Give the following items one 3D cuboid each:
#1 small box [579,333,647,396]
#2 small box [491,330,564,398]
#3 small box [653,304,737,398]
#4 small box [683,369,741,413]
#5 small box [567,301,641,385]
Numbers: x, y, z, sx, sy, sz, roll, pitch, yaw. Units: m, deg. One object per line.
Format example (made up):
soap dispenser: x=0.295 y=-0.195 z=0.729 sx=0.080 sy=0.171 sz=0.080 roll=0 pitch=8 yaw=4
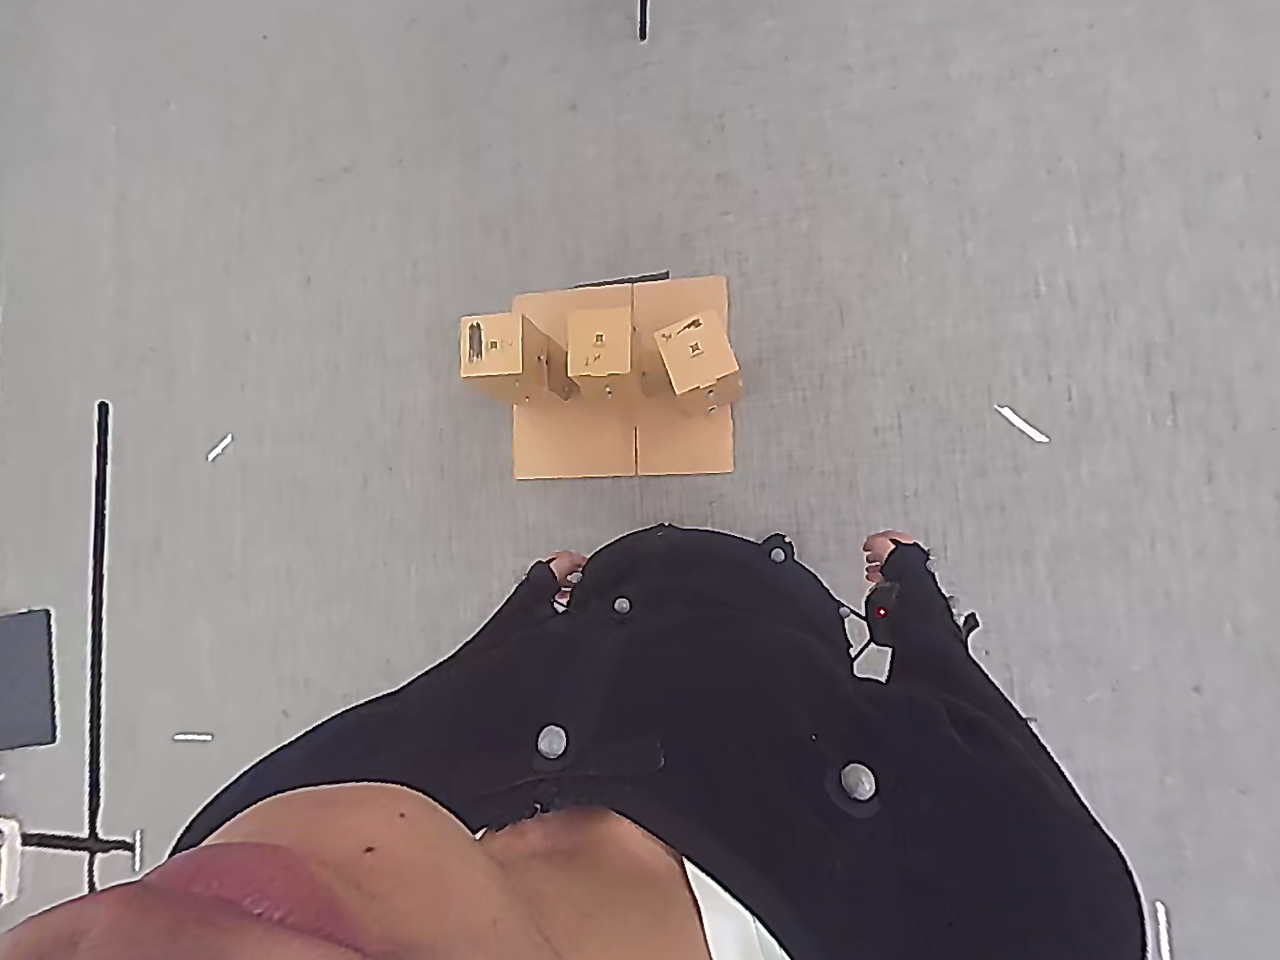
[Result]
small box: x=-0.074 y=-0.348 z=1.609 sx=0.179 sy=0.176 sz=0.168 roll=0 pitch=87 yaw=10
small box: x=-0.337 y=-0.350 z=1.652 sx=0.179 sy=0.176 sz=0.168 roll=-2 pitch=86 yaw=11
small box: x=0.148 y=-0.322 z=1.404 sx=0.168 sy=0.176 sz=0.179 roll=-20 pitch=84 yaw=8
small box: x=0.184 y=-0.314 z=1.564 sx=0.168 sy=0.176 sz=0.179 roll=-22 pitch=82 yaw=9
small box: x=-0.092 y=-0.360 z=1.445 sx=0.168 sy=0.176 sz=0.179 roll=0 pitch=87 yaw=10
